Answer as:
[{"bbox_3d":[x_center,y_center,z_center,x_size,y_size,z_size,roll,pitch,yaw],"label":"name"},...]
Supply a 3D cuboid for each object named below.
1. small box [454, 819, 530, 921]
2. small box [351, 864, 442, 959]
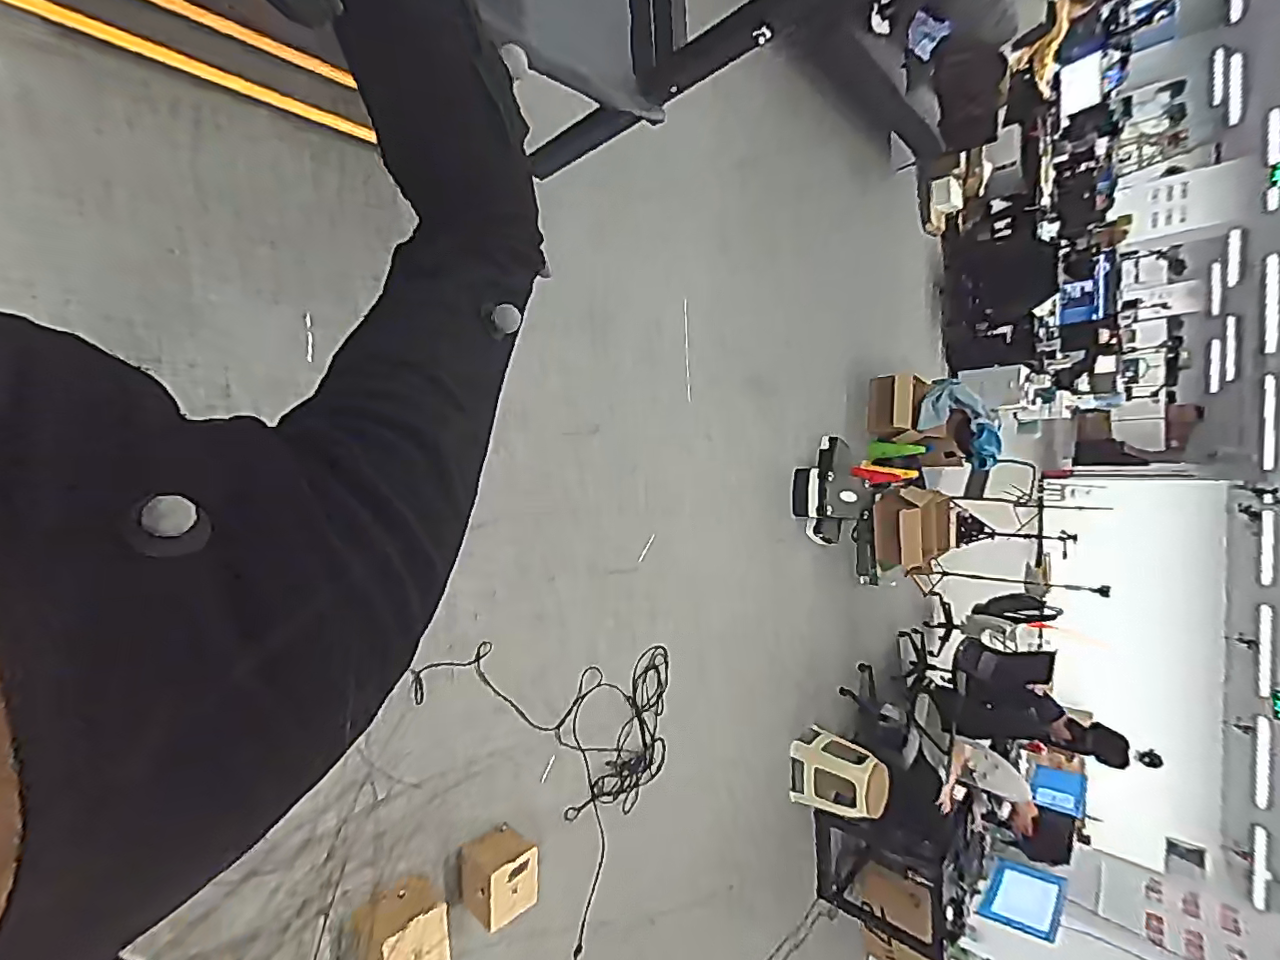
[{"bbox_3d":[-0.456,1.181,1.661,0.168,0.176,0.179,0,92,-48],"label":"small box"},{"bbox_3d":[-0.652,1.189,1.447,0.168,0.176,0.179,-8,96,-48],"label":"small box"}]
